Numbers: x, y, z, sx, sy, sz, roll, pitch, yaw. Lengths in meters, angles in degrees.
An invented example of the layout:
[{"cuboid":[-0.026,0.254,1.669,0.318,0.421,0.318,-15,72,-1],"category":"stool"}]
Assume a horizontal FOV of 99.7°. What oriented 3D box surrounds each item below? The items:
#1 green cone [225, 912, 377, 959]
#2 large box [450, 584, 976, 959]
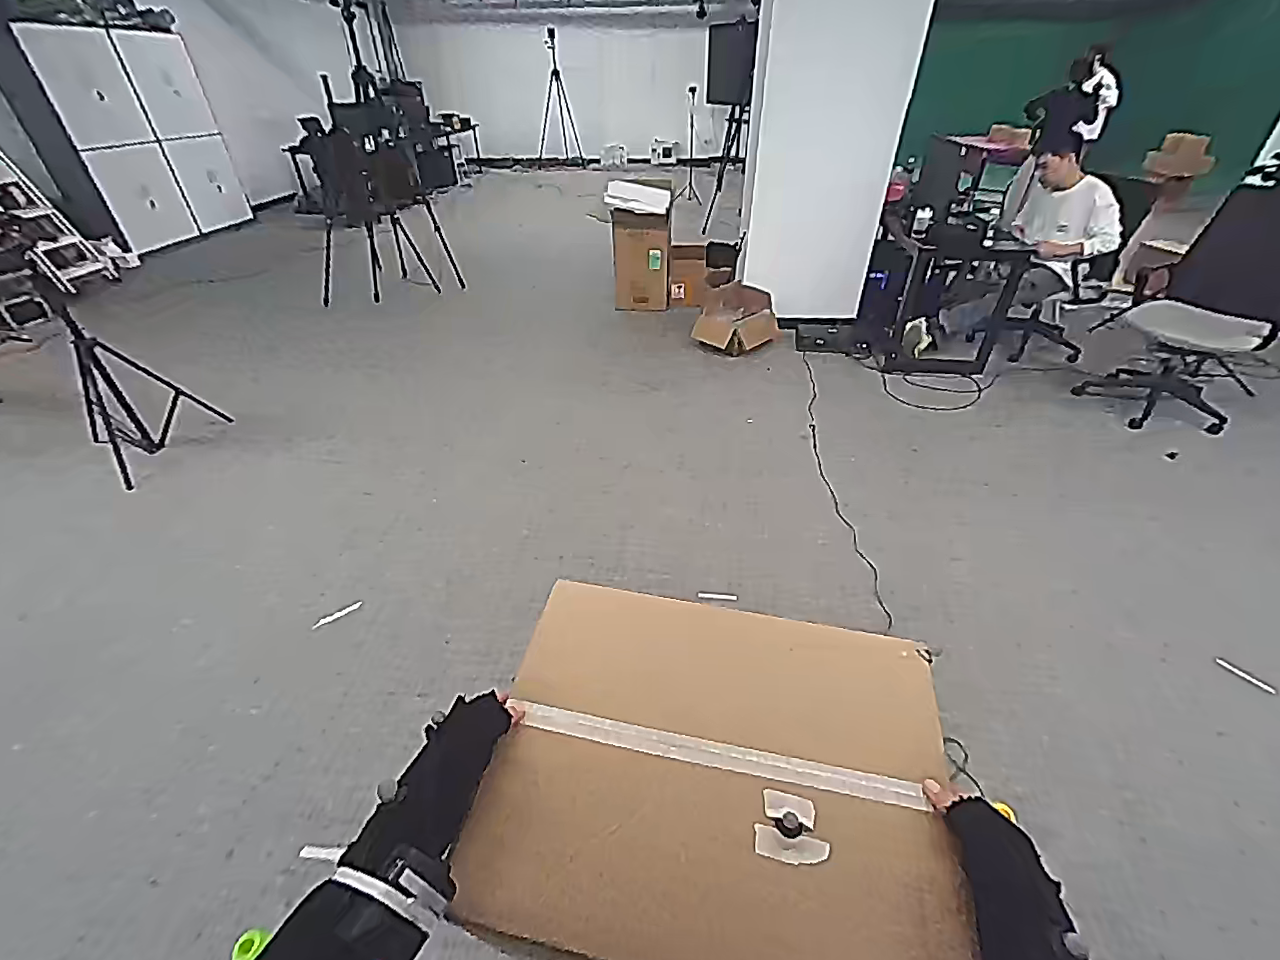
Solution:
[{"cuboid":[-0.649,0.901,0.998,0.202,0.368,0.200,-22,41,-23],"category":"green cone"},{"cuboid":[0.071,0.356,0.601,0.408,0.320,0.320,8,45,9],"category":"large box"}]
